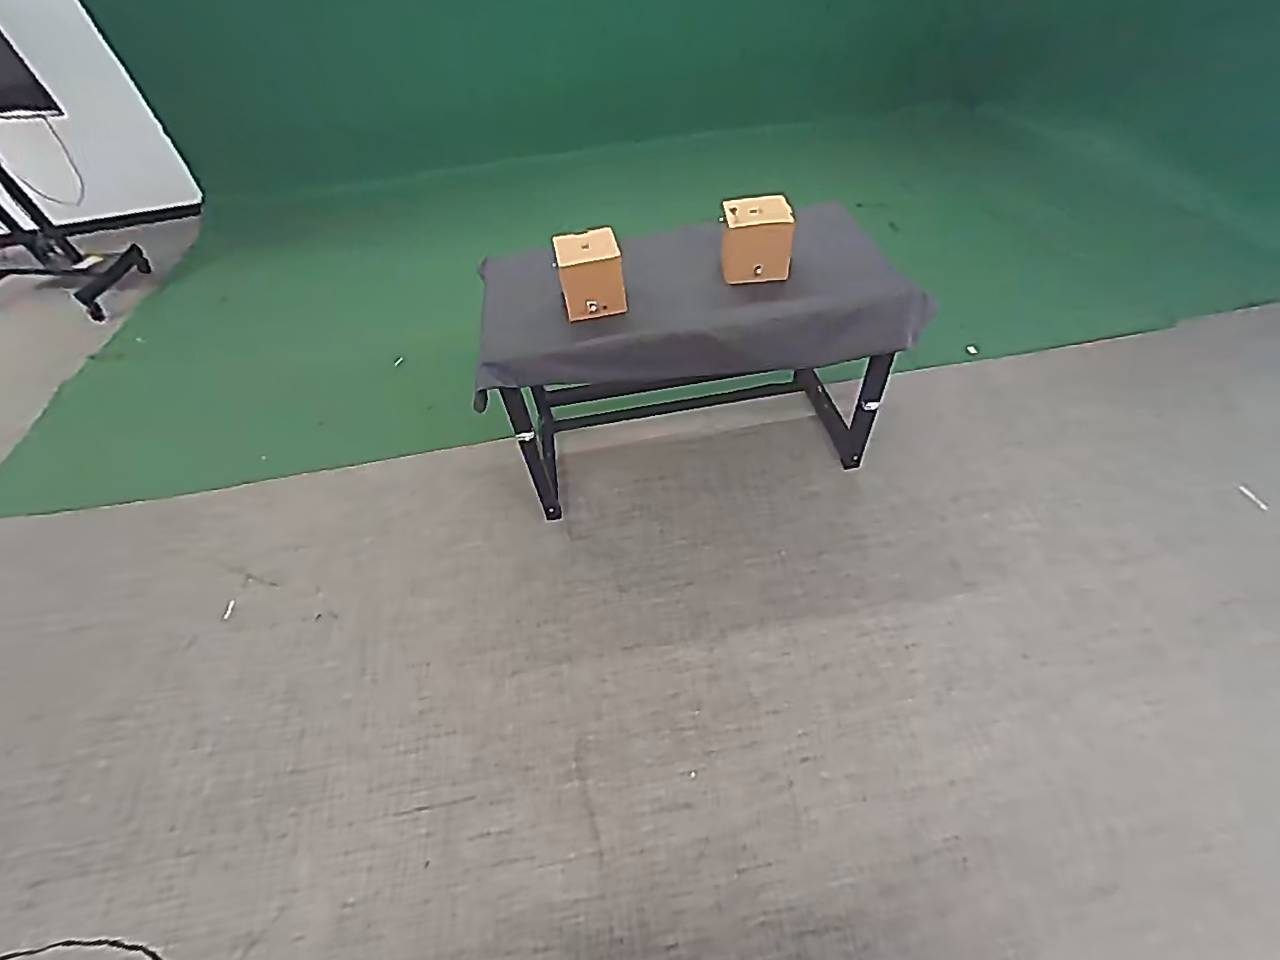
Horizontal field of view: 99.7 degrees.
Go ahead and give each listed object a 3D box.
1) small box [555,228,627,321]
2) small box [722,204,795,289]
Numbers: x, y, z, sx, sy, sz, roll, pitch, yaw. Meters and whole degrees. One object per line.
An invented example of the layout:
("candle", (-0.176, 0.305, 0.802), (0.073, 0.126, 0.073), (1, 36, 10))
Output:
("small box", (-0.136, -0.567, 1.495), (0.168, 0.176, 0.179), (-11, 49, -1))
("small box", (0.333, -0.668, 1.553), (0.179, 0.176, 0.168), (-3, 49, 3))
